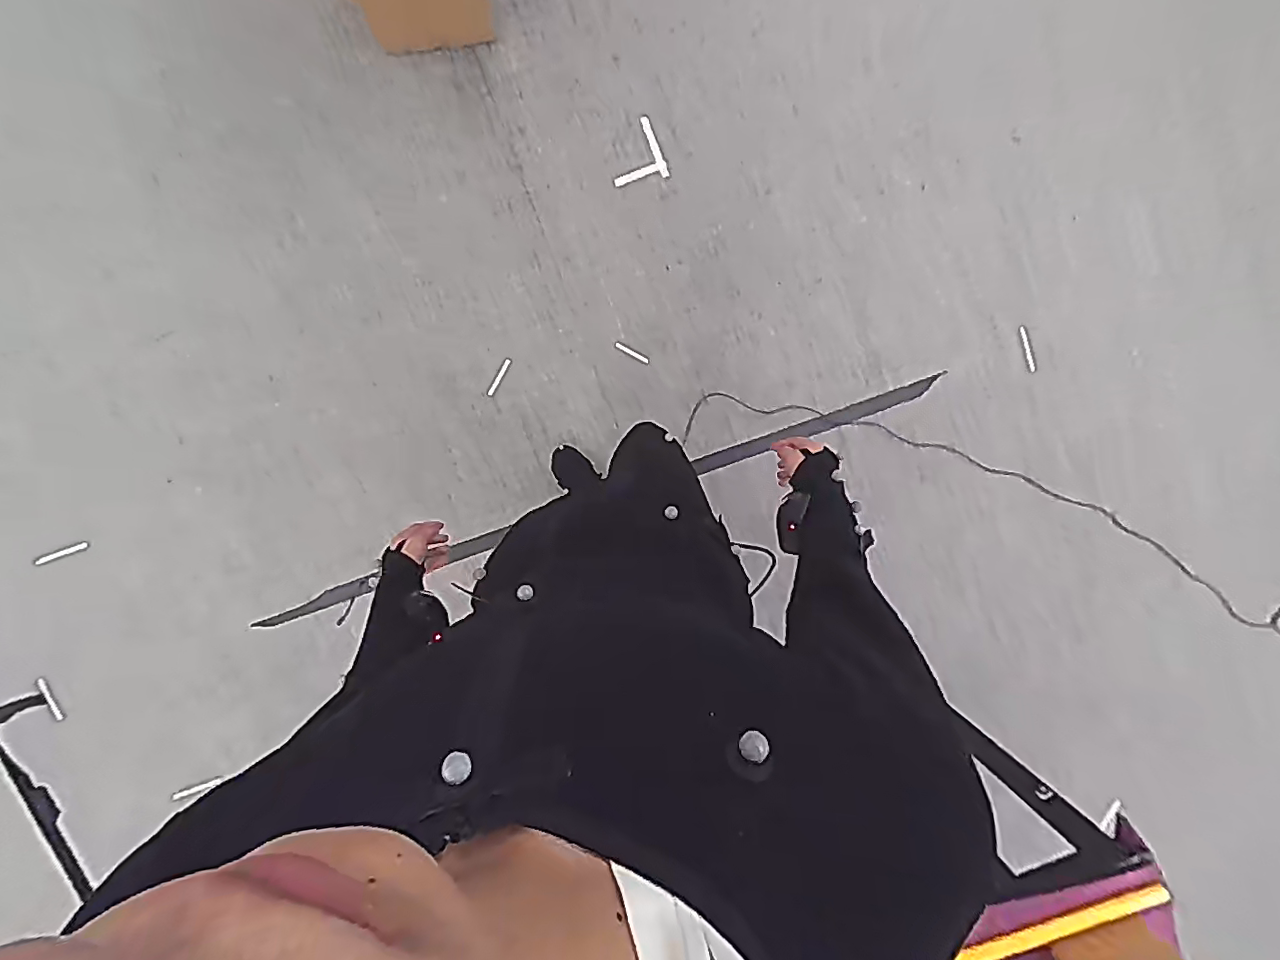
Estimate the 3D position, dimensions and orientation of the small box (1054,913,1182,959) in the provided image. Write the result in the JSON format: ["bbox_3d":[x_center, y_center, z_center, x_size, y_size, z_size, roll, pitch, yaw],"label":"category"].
[{"bbox_3d":[0.879,0.926,0.954,0.179,0.176,0.168,-20,97,2],"label":"small box"}]
